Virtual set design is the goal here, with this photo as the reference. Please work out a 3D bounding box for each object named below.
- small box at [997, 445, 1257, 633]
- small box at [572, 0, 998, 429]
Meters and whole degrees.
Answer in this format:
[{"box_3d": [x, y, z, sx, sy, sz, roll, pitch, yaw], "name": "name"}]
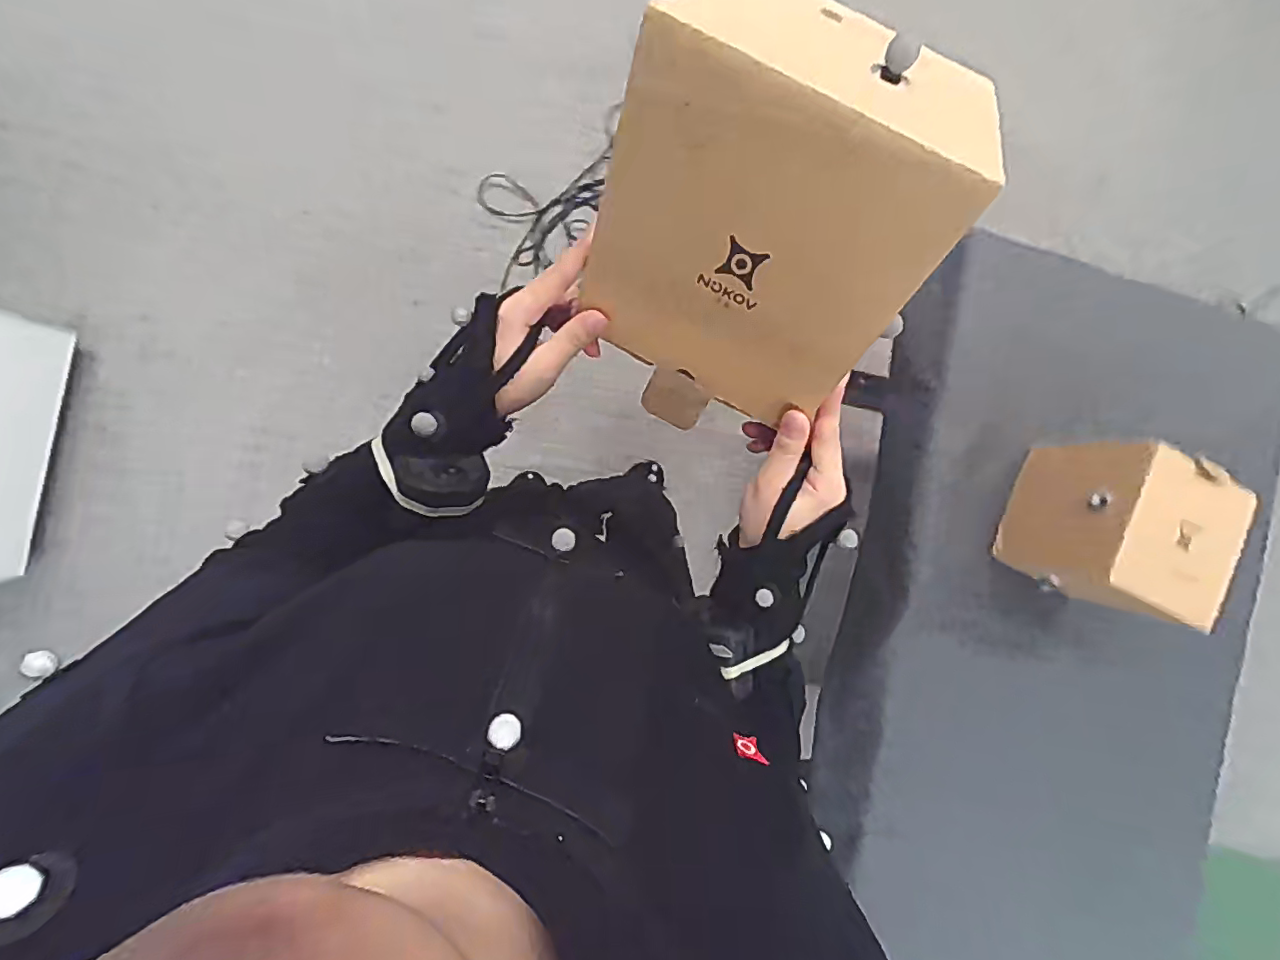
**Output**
[{"box_3d": [0.615, 0.067, 0.703, 0.168, 0.176, 0.179, 24, 88, -10], "name": "small box"}, {"box_3d": [0.078, -0.172, 0.334, 0.168, 0.179, 0.176, 26, 54, 1], "name": "small box"}]
